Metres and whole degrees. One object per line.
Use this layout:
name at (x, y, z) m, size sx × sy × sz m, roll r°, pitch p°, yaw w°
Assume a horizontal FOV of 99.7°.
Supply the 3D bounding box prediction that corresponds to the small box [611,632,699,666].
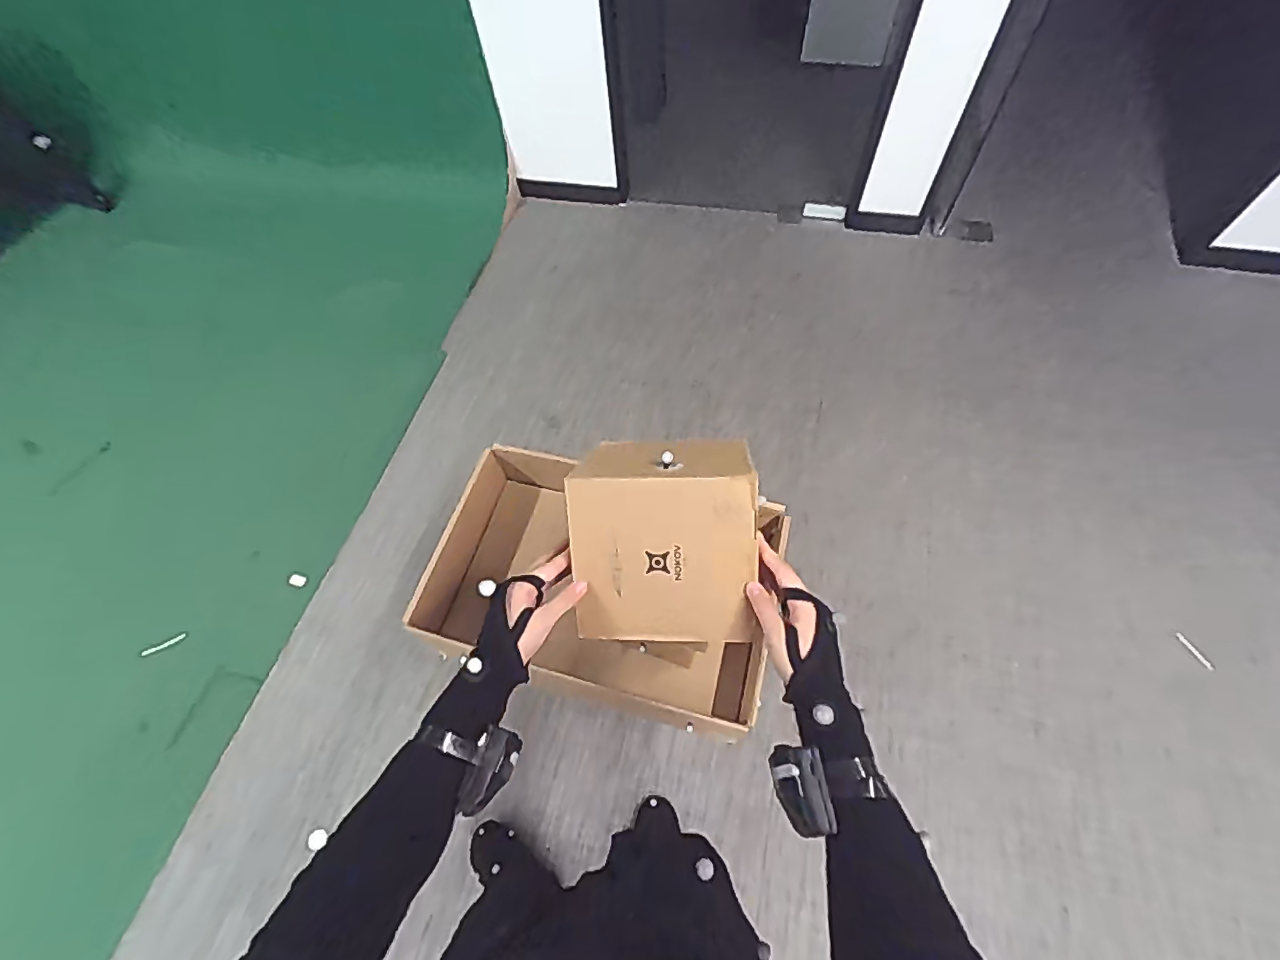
small box at (0.044, 0.216, 0.973) m, size 0.168 × 0.176 × 0.179 m, roll 17°, pitch 63°, yaw 13°

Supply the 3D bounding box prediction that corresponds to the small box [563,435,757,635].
small box at (0.027, 0.047, 0.577) m, size 0.179 × 0.168 × 0.176 m, roll 0°, pitch 15°, yaw 7°
